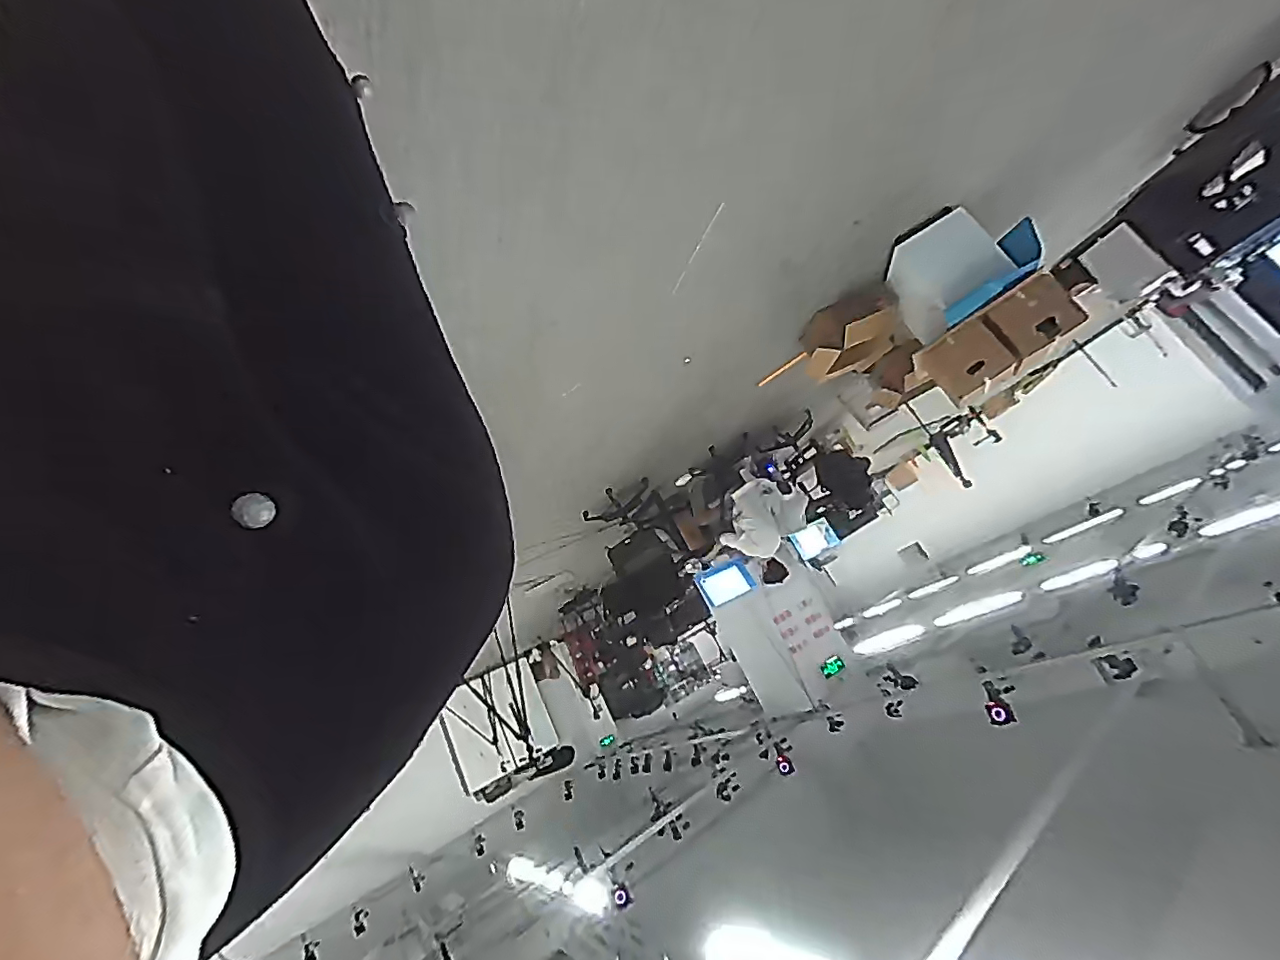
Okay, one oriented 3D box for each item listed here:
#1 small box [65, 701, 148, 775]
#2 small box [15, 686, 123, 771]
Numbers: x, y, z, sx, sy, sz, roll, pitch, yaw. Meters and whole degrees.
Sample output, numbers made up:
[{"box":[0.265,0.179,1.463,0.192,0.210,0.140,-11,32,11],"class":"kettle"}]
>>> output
[{"box":[-1.799,0.864,1.817,0.168,0.176,0.179,-18,162,-35],"class":"small box"},{"box":[-1.664,0.723,1.582,0.168,0.176,0.179,-19,163,-33],"class":"small box"}]
